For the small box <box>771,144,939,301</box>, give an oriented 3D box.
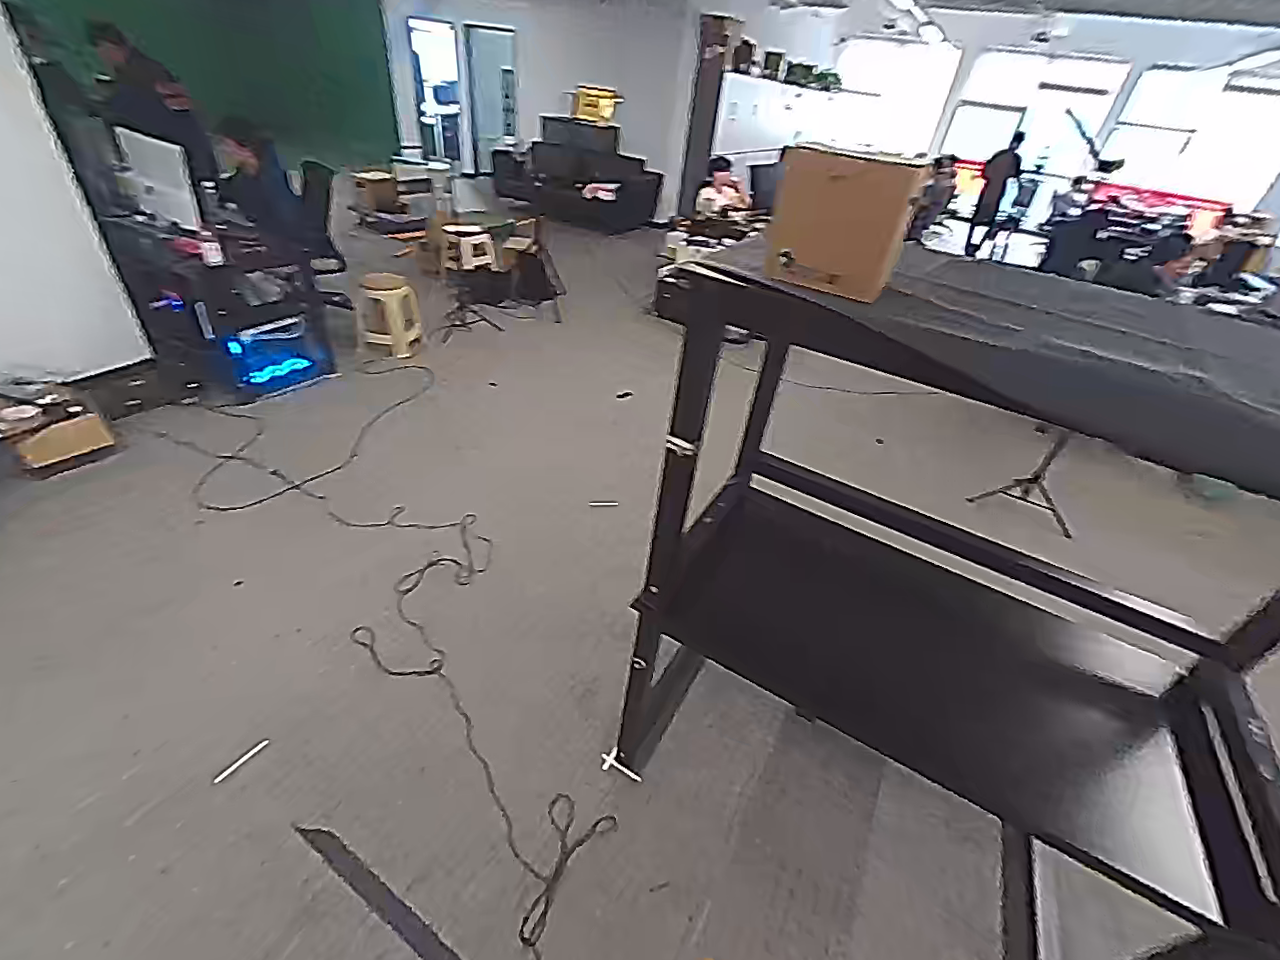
[{"bbox_3d":[0.303,-0.372,0.778,0.168,0.176,0.179,24,39,19],"label":"small box"}]
